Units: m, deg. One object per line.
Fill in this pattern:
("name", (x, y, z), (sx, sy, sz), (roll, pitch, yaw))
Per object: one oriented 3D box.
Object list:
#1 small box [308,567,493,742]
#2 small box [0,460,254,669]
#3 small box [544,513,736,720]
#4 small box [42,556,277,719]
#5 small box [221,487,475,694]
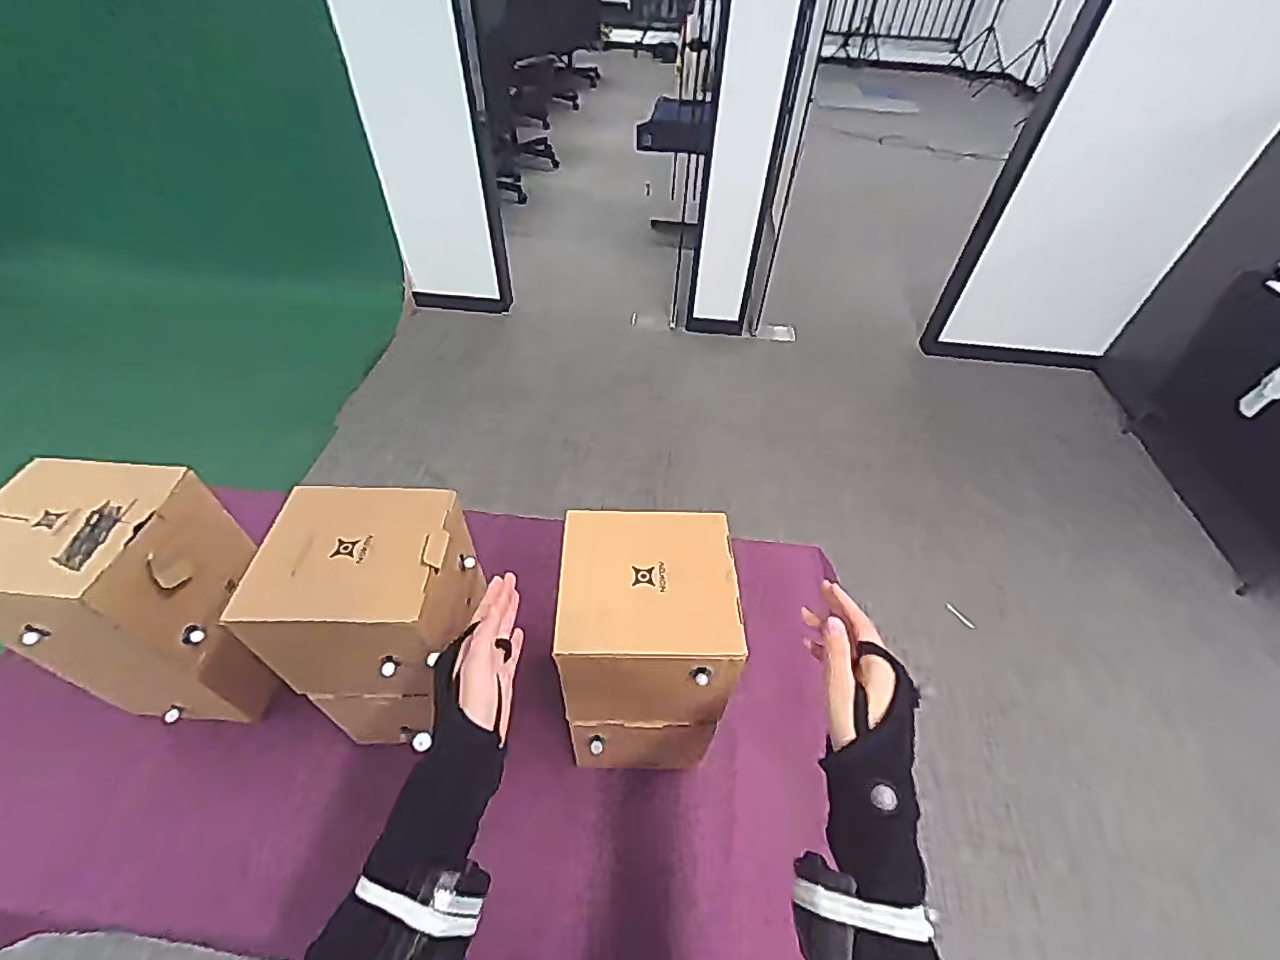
("small box", (-0.300, 0.233, 0.726), (0.168, 0.176, 0.179), (0, 48, -2))
("small box", (-0.590, 0.099, 0.607), (0.179, 0.176, 0.168), (4, 48, 1))
("small box", (-0.002, 0.153, 0.595), (0.179, 0.176, 0.168), (2, 48, -2))
("small box", (-0.598, 0.209, 0.729), (0.179, 0.176, 0.168), (4, 48, 1))
("small box", (-0.296, 0.126, 0.603), (0.179, 0.176, 0.168), (1, 48, -1))
